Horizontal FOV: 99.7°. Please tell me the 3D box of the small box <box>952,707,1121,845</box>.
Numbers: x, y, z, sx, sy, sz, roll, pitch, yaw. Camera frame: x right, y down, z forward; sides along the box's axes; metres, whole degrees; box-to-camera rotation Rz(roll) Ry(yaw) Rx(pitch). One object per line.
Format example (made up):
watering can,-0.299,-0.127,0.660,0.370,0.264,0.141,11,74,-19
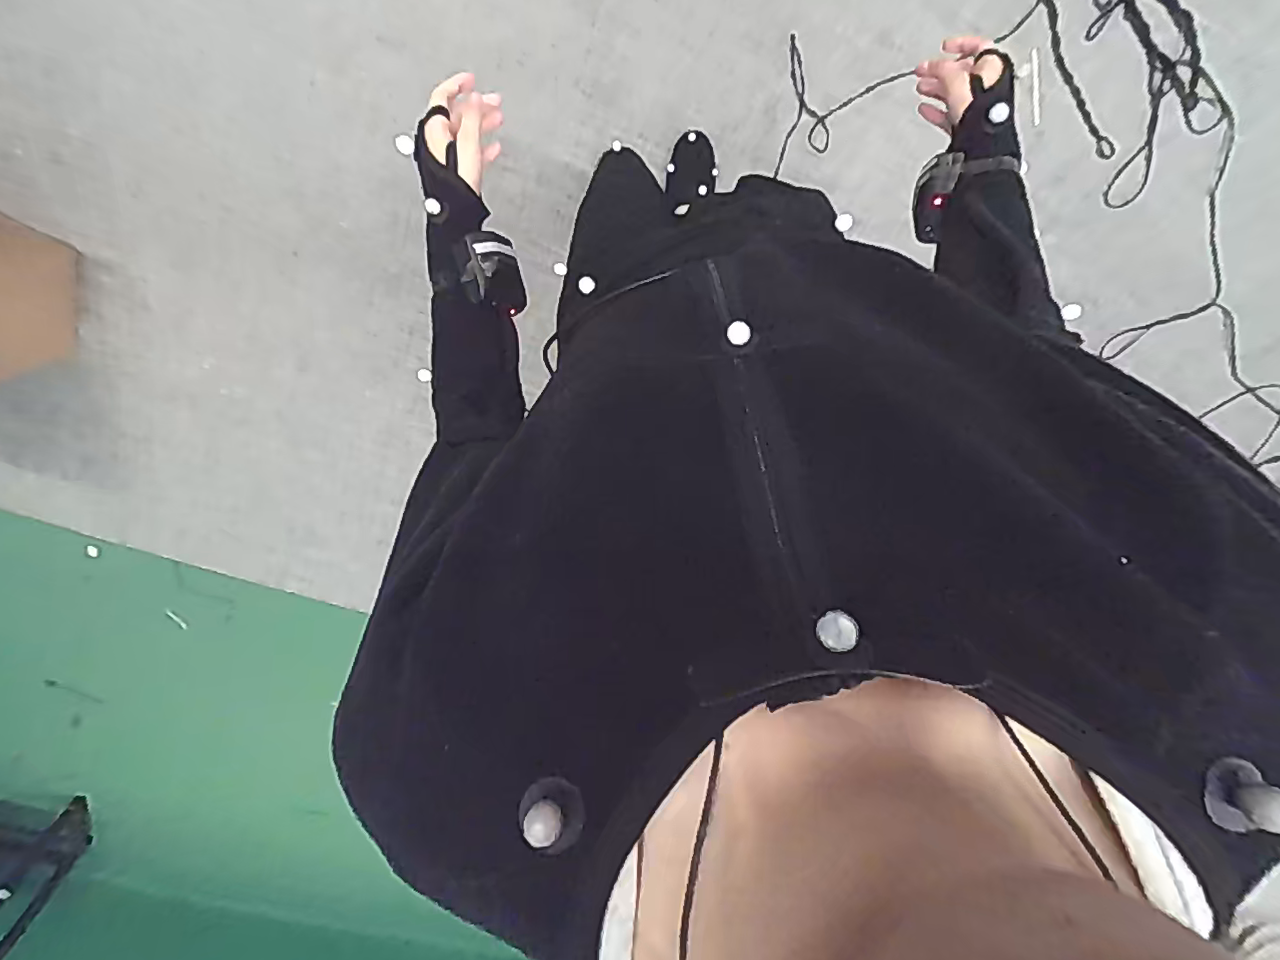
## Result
small box,0.774,0.584,1.080,0.179,0.176,0.168,23,121,-12
